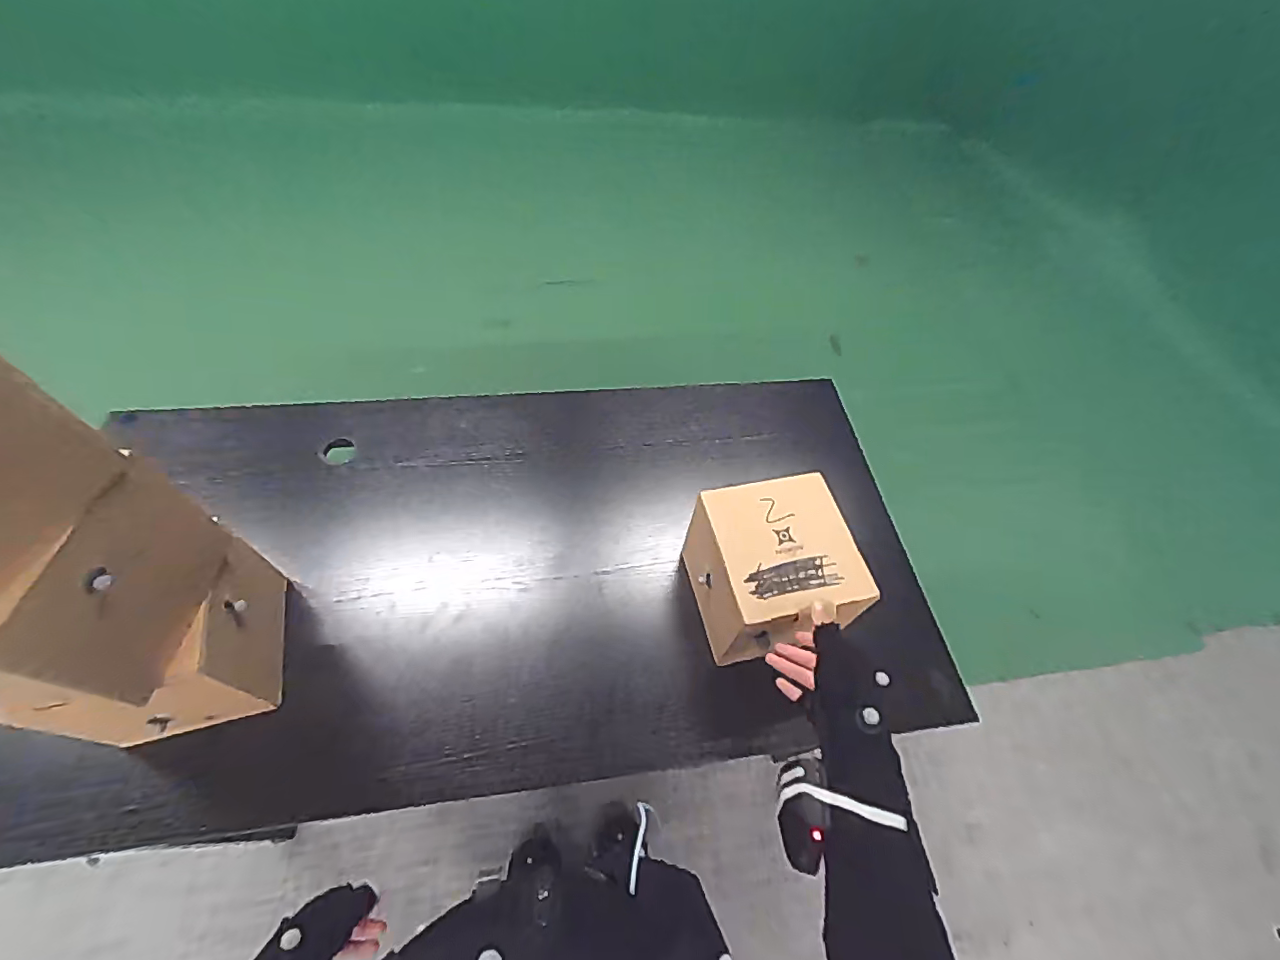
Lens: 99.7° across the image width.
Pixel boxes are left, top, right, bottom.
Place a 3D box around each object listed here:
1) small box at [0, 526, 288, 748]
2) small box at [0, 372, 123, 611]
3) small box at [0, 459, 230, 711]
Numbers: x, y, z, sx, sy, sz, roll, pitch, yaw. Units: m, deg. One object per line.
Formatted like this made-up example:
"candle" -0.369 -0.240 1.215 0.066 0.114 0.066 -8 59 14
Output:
"small box" -0.521 0.179 0.606 0.168 0.176 0.179 -11 60 -13
"small box" -0.500 -0.004 0.334 0.168 0.176 0.179 16 58 4
"small box" -0.511 0.090 0.468 0.168 0.176 0.179 7 56 -2
